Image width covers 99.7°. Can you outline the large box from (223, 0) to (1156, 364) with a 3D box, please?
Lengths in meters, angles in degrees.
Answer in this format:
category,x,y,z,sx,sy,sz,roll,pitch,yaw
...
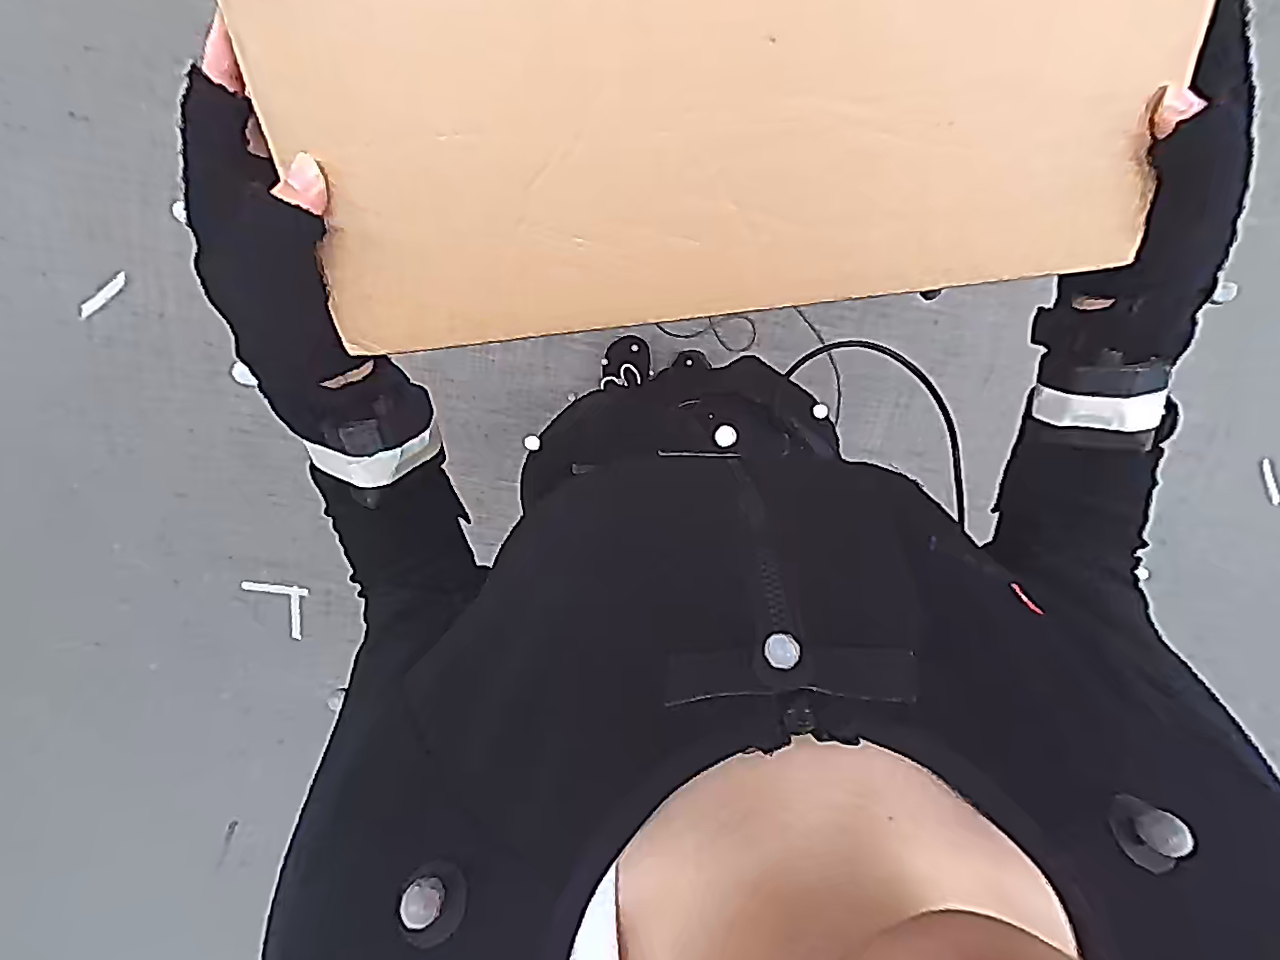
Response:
category,x,y,z,sx,sy,sz,roll,pitch,yaw
large box,0.019,-0.293,0.349,0.408,0.320,0.320,-7,117,0
